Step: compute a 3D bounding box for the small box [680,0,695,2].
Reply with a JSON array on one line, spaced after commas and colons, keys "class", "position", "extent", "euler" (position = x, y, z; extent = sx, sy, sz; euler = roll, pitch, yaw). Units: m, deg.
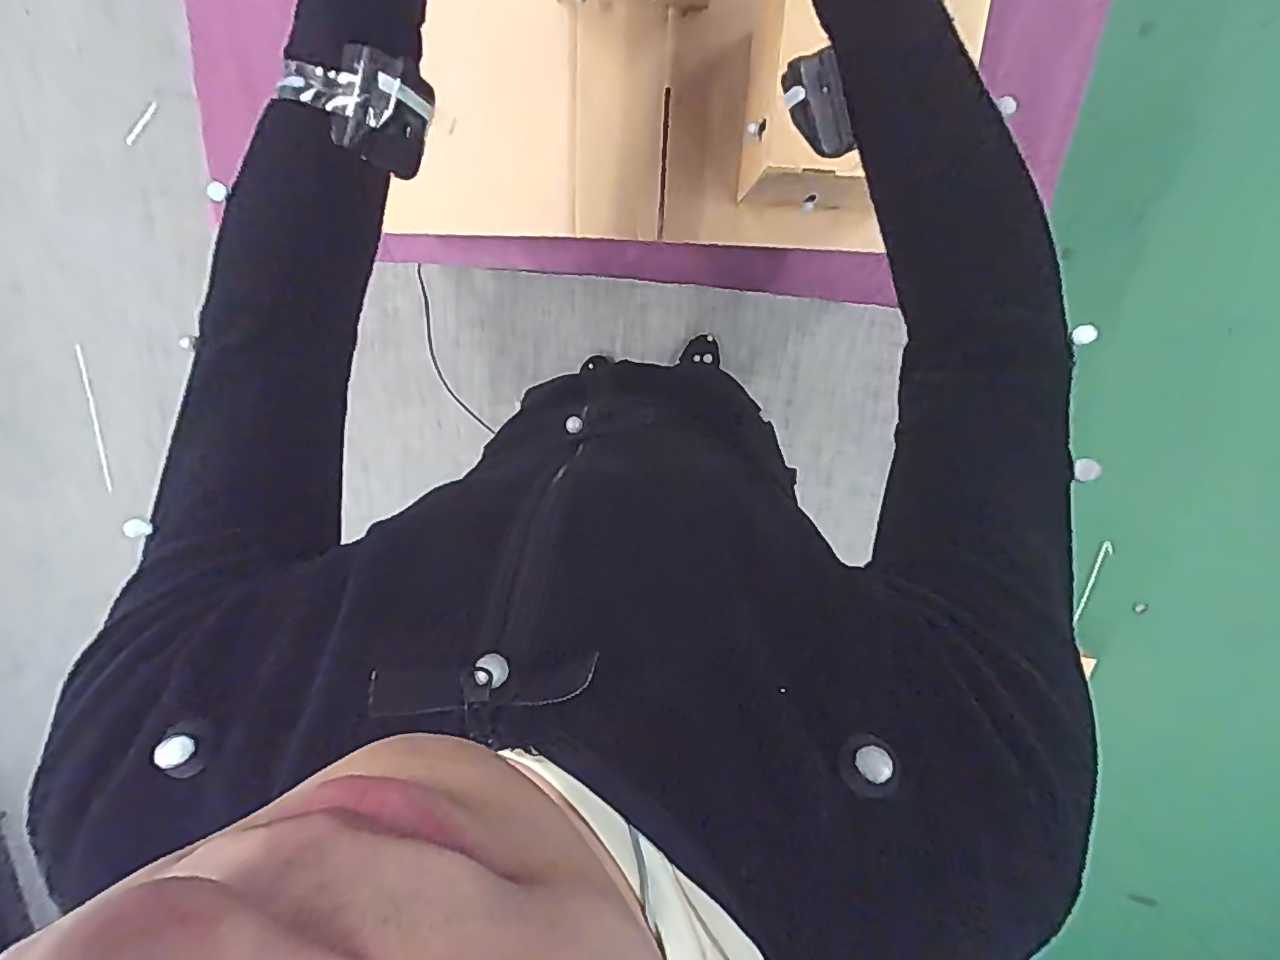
[{"class": "small box", "position": [-0.006, -0.552, 0.457], "extent": [0.168, 0.176, 0.179], "euler": [2, 107, -1]}]

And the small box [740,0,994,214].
[{"class": "small box", "position": [0.195, -0.367, 0.515], "extent": [0.168, 0.176, 0.179], "euler": [3, 108, 0]}]
